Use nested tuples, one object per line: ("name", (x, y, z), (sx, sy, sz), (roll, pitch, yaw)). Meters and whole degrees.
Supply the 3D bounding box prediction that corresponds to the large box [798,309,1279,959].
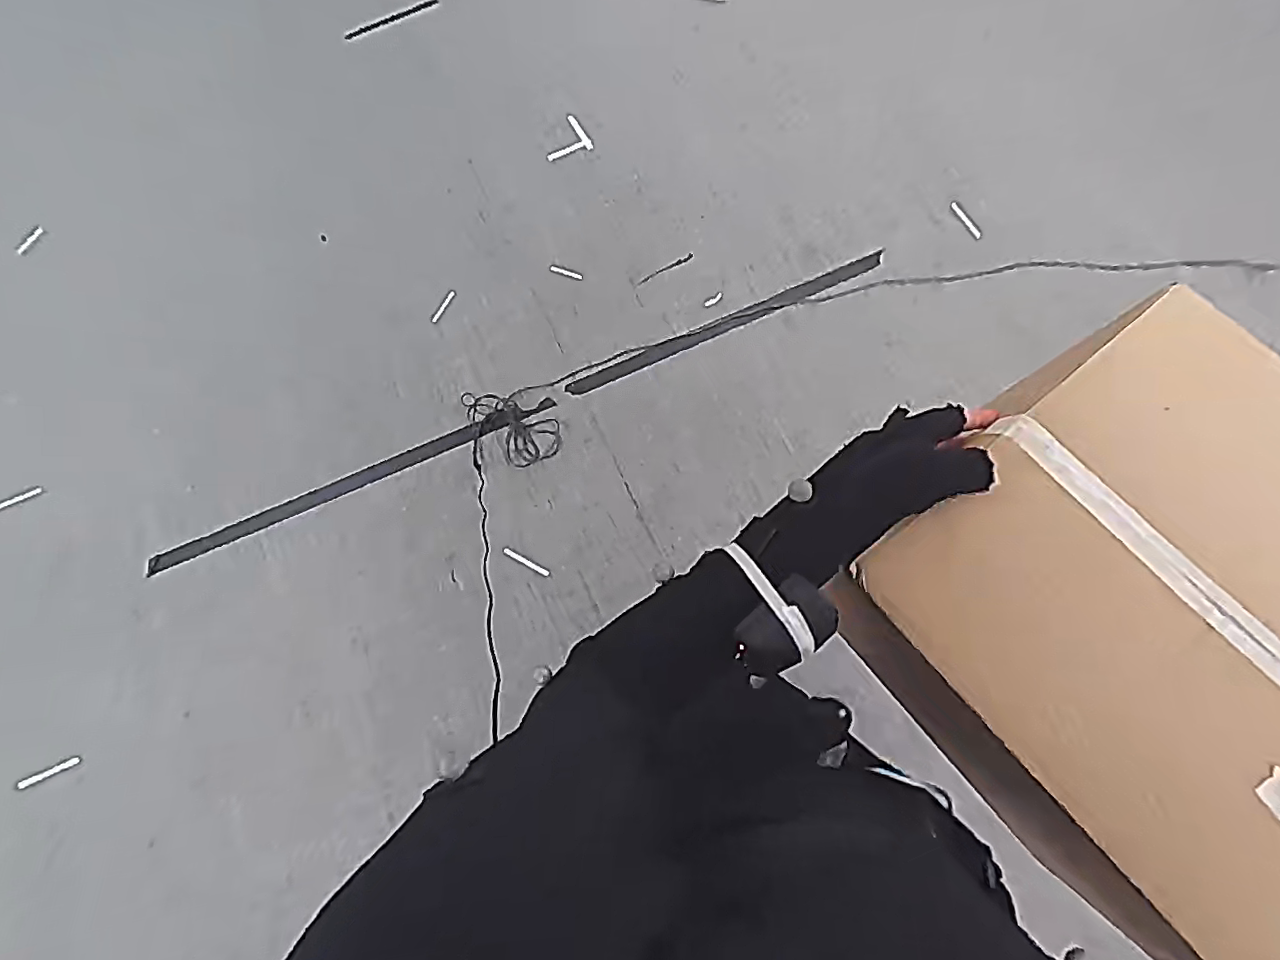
("large box", (0.413, 0.140, 0.491), (0.320, 0.320, 0.408), (-41, 77, 0))
